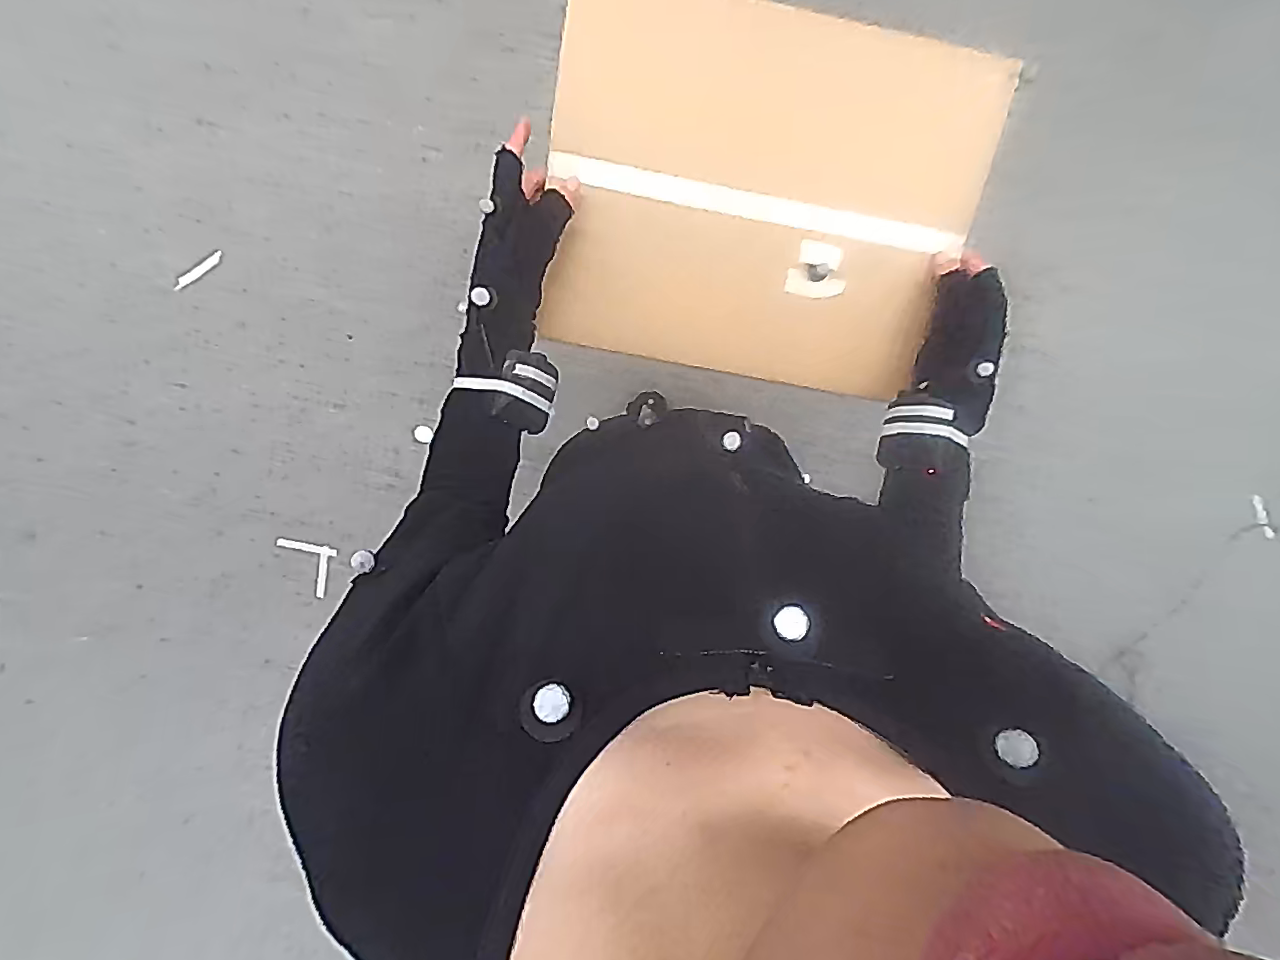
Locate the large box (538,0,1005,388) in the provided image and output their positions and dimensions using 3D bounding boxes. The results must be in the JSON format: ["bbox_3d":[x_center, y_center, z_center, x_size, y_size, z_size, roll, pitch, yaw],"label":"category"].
[{"bbox_3d":[0.107,-0.311,0.658,0.408,0.320,0.320,9,108,-5],"label":"large box"}]
